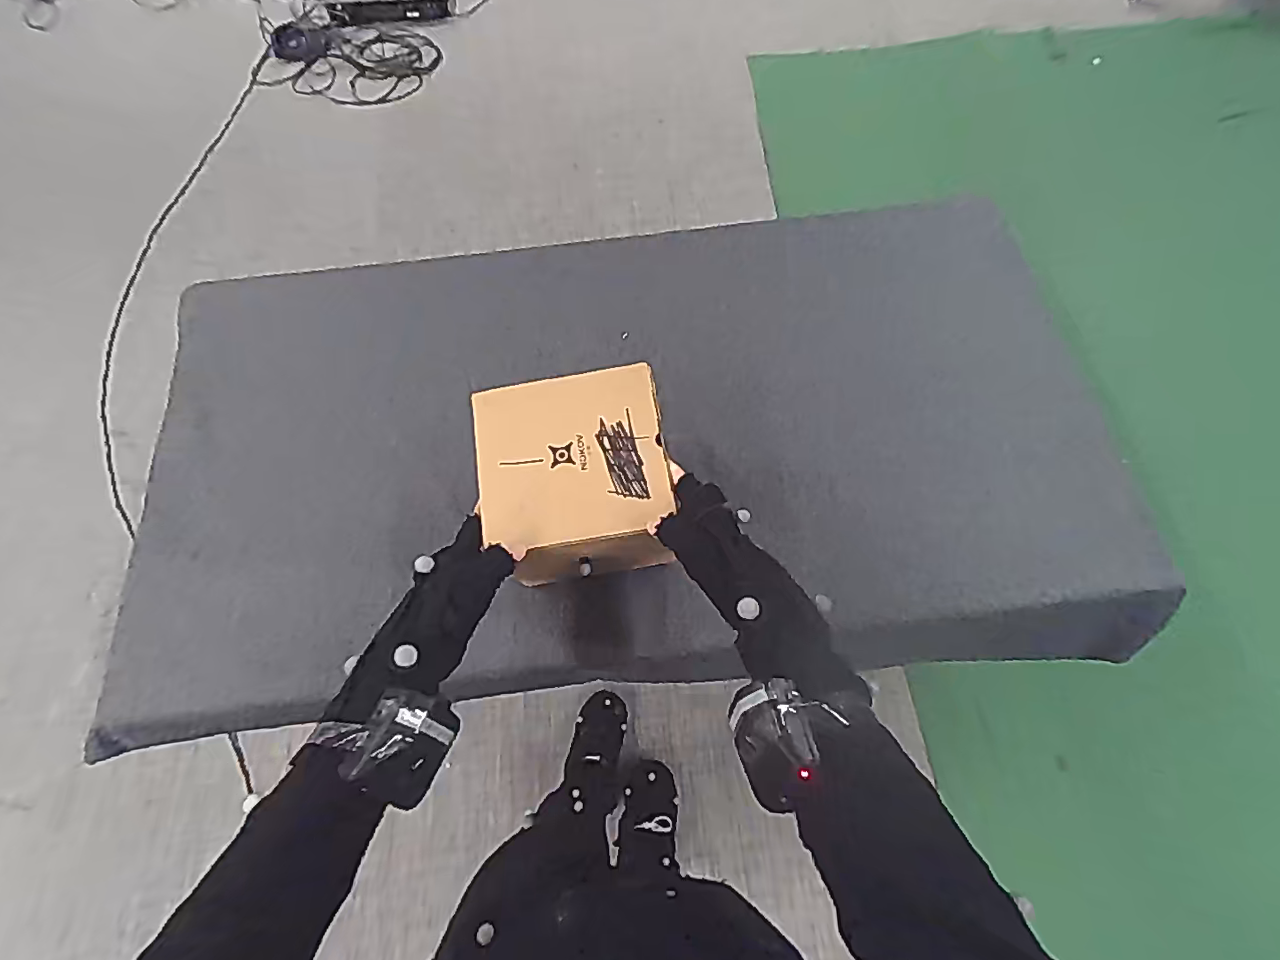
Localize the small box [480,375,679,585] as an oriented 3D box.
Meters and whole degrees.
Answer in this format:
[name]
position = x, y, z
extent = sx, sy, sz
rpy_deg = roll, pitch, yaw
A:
[small box]
position = -0.059, 0.010, 0.588
extent = 0.179, 0.176, 0.168
rpy_deg = -10, 70, -1
